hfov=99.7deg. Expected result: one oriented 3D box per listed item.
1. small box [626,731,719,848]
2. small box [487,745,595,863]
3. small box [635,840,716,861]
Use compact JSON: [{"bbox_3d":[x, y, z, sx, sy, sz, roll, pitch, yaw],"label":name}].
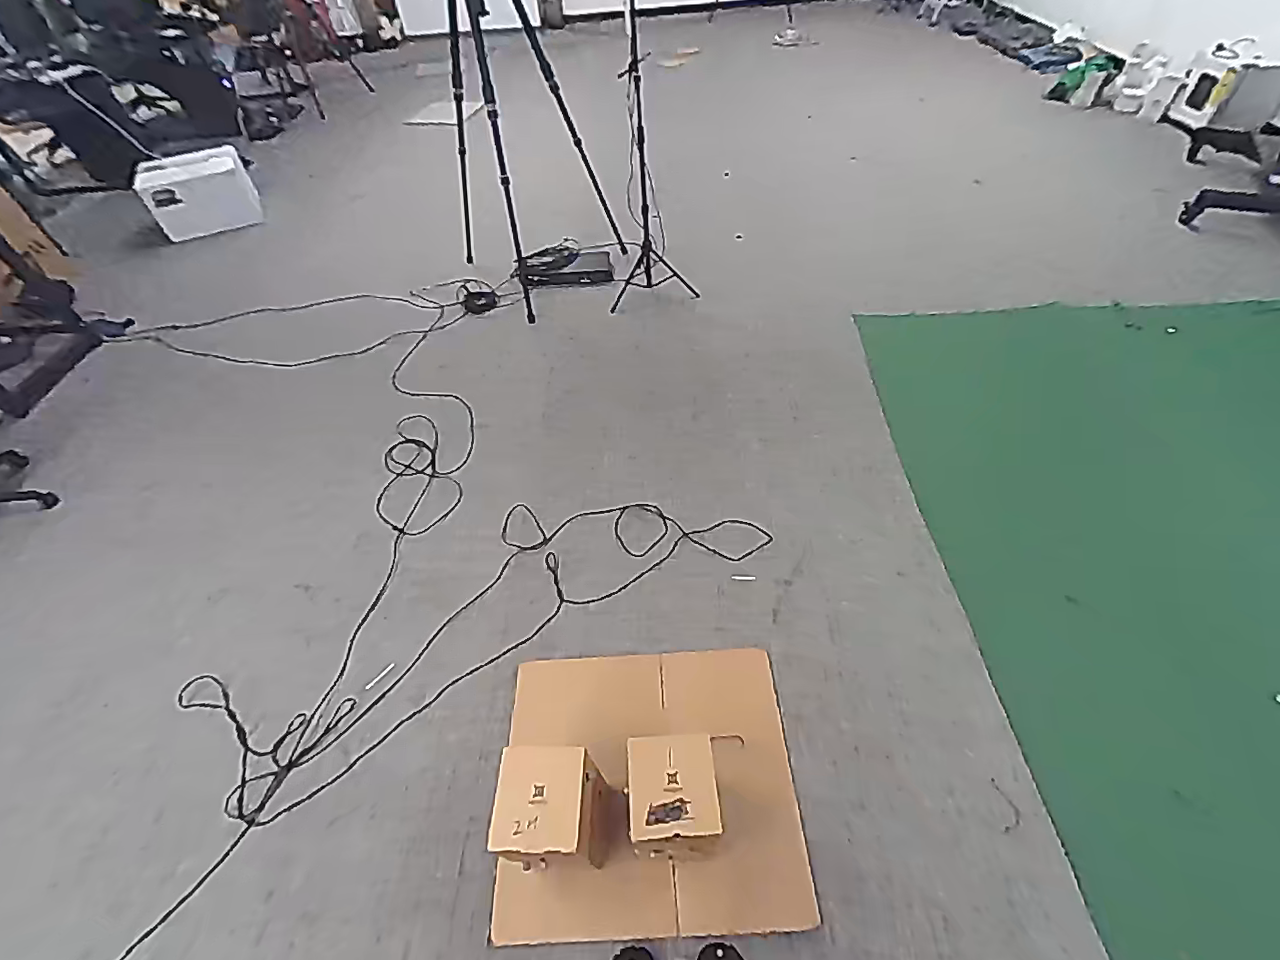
[{"bbox_3d":[0.063,0.619,1.074,0.168,0.176,0.179,-5,49,0],"label":"small box"},{"bbox_3d":[-0.185,0.643,1.072,0.168,0.176,0.179,-3,50,4],"label":"small box"},{"bbox_3d":[0.071,0.727,1.198,0.168,0.176,0.179,-4,50,1],"label":"small box"}]
